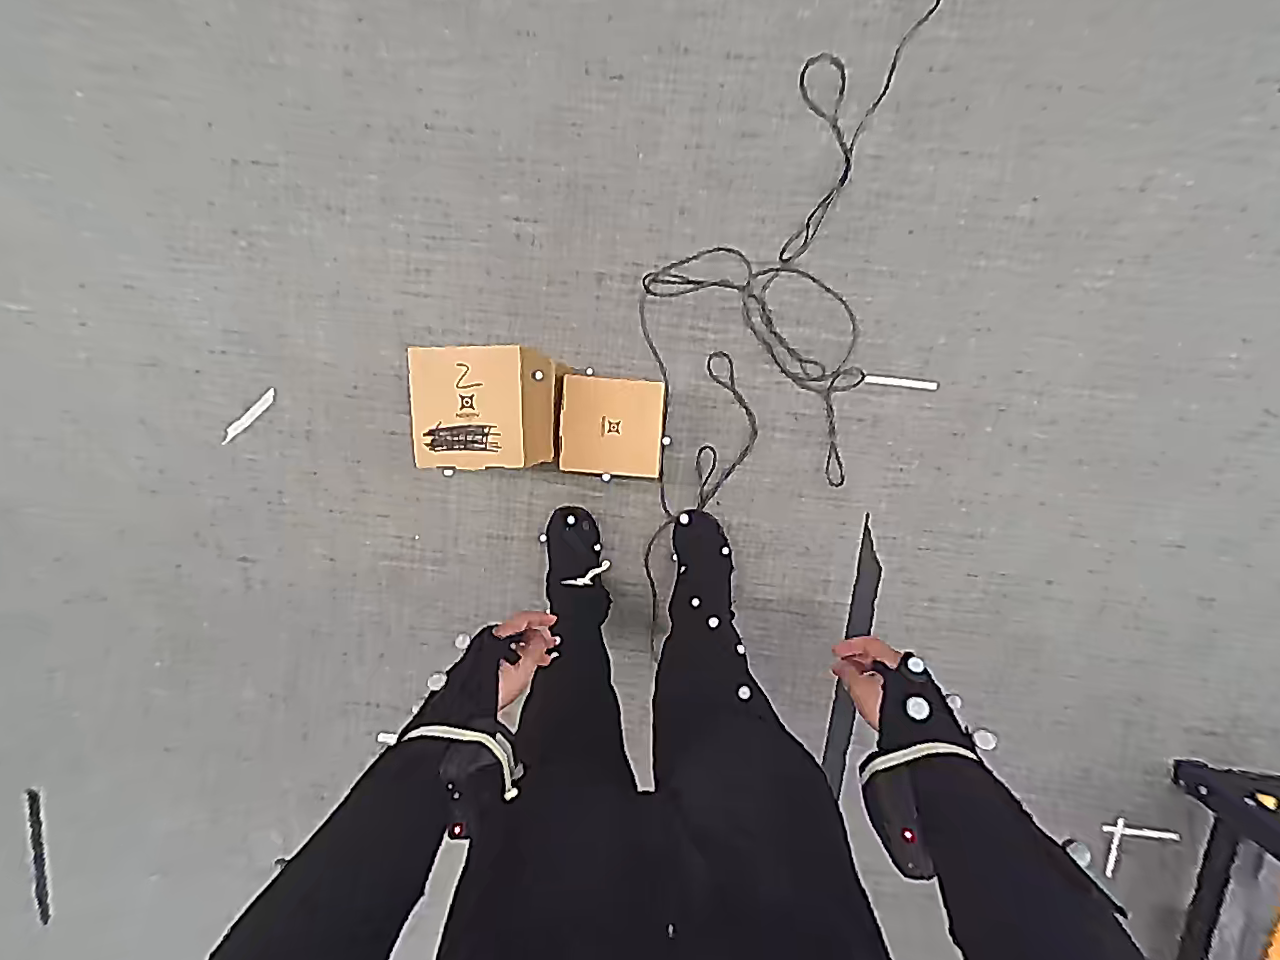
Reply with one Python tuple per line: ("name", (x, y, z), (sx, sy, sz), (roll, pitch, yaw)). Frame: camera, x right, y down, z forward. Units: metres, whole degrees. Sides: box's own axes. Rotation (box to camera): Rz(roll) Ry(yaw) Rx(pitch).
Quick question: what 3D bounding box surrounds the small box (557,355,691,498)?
("small box", (-0.031, -0.088, 0.932), (0.168, 0.176, 0.179), (27, 109, -14))
